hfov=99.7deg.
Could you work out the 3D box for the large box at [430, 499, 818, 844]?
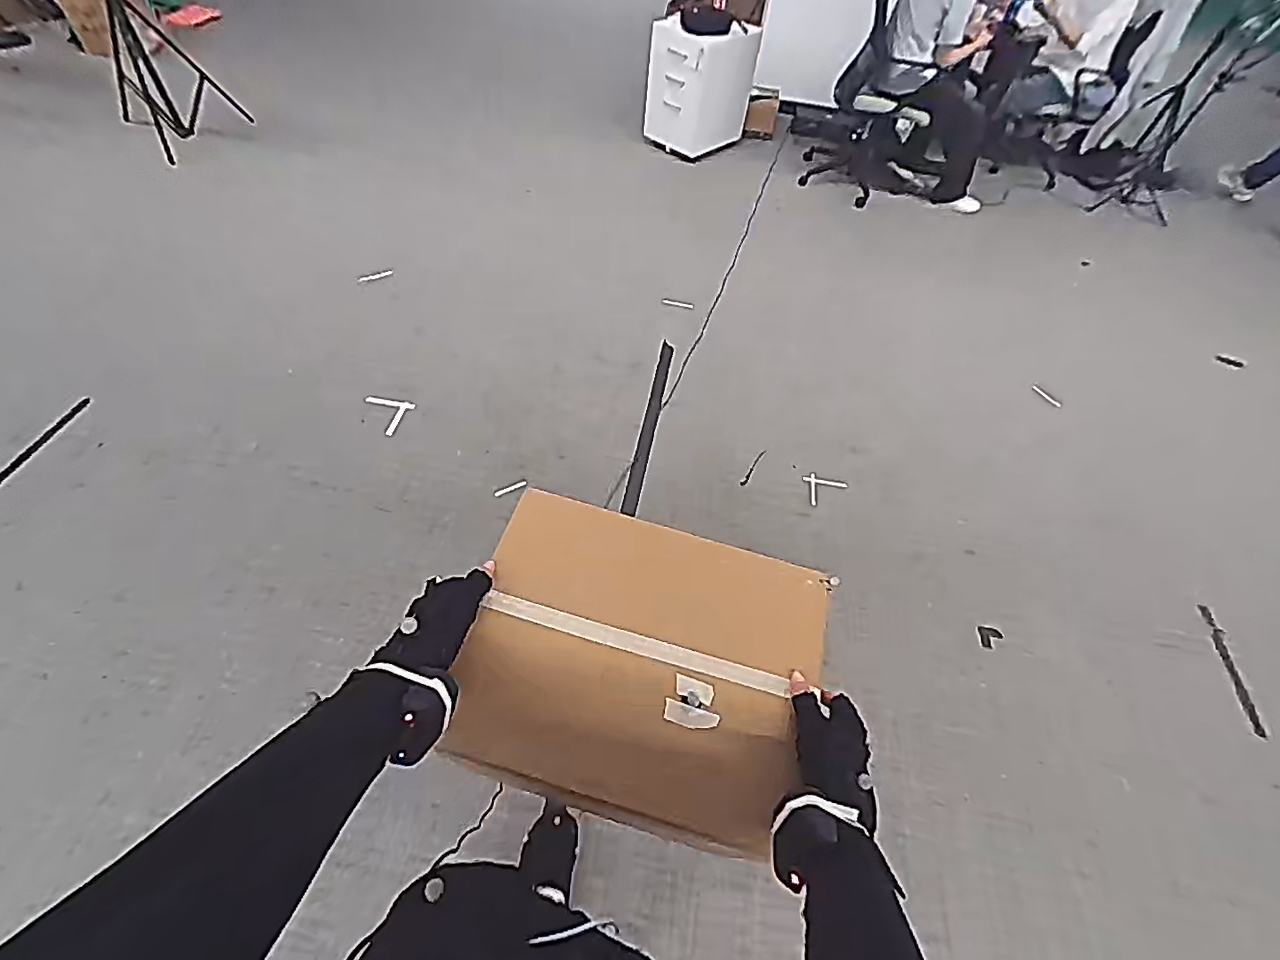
[{"bbox_3d":[-0.012,0.276,0.757,0.408,0.320,0.320,16,57,3],"label":"large box"}]
